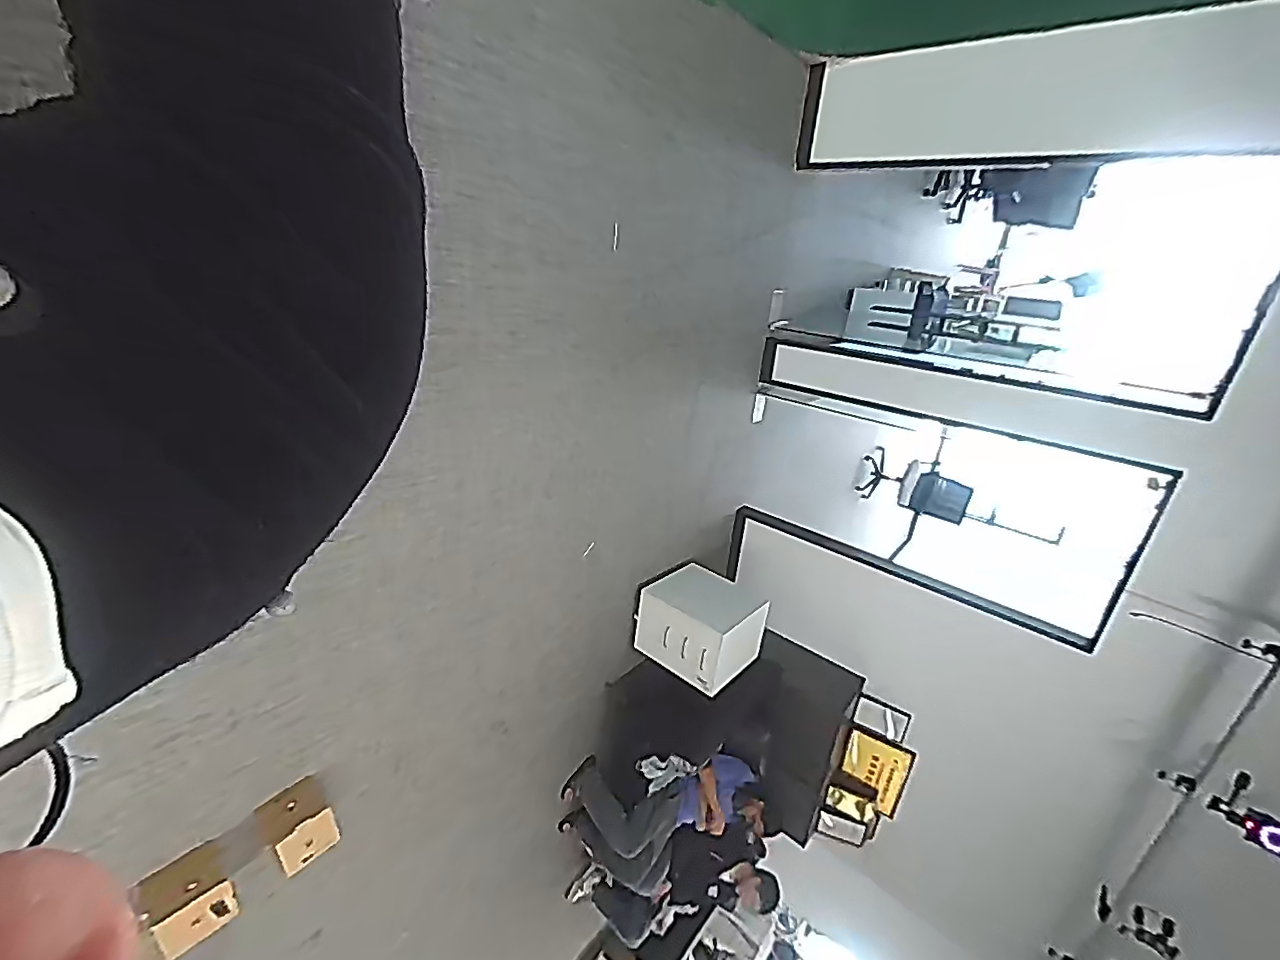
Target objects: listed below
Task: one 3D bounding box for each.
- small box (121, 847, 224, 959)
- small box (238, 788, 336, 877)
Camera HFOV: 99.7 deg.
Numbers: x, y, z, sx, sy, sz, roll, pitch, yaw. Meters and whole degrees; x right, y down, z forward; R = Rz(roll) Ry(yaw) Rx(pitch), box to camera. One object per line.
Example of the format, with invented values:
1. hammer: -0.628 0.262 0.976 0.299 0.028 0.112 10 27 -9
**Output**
1. small box: -1.329 1.205 1.539 0.179 0.176 0.168 -17 119 -50
2. small box: -1.143 1.138 1.749 0.179 0.176 0.168 -53 145 -24
